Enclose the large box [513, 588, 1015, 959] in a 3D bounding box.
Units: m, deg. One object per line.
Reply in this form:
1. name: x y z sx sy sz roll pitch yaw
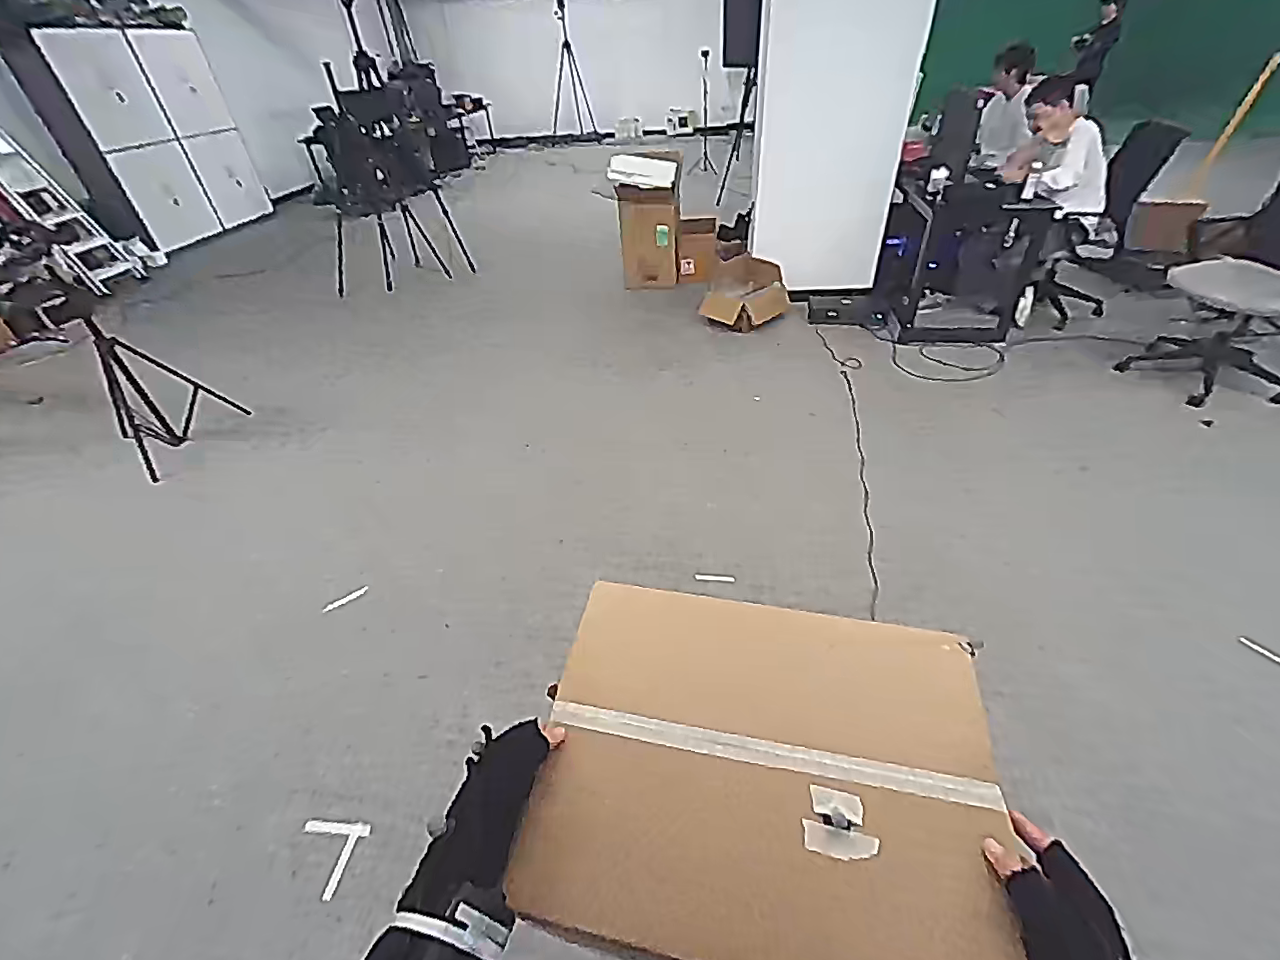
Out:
1. large box: 0.120 0.362 0.629 0.408 0.320 0.320 7 47 11
